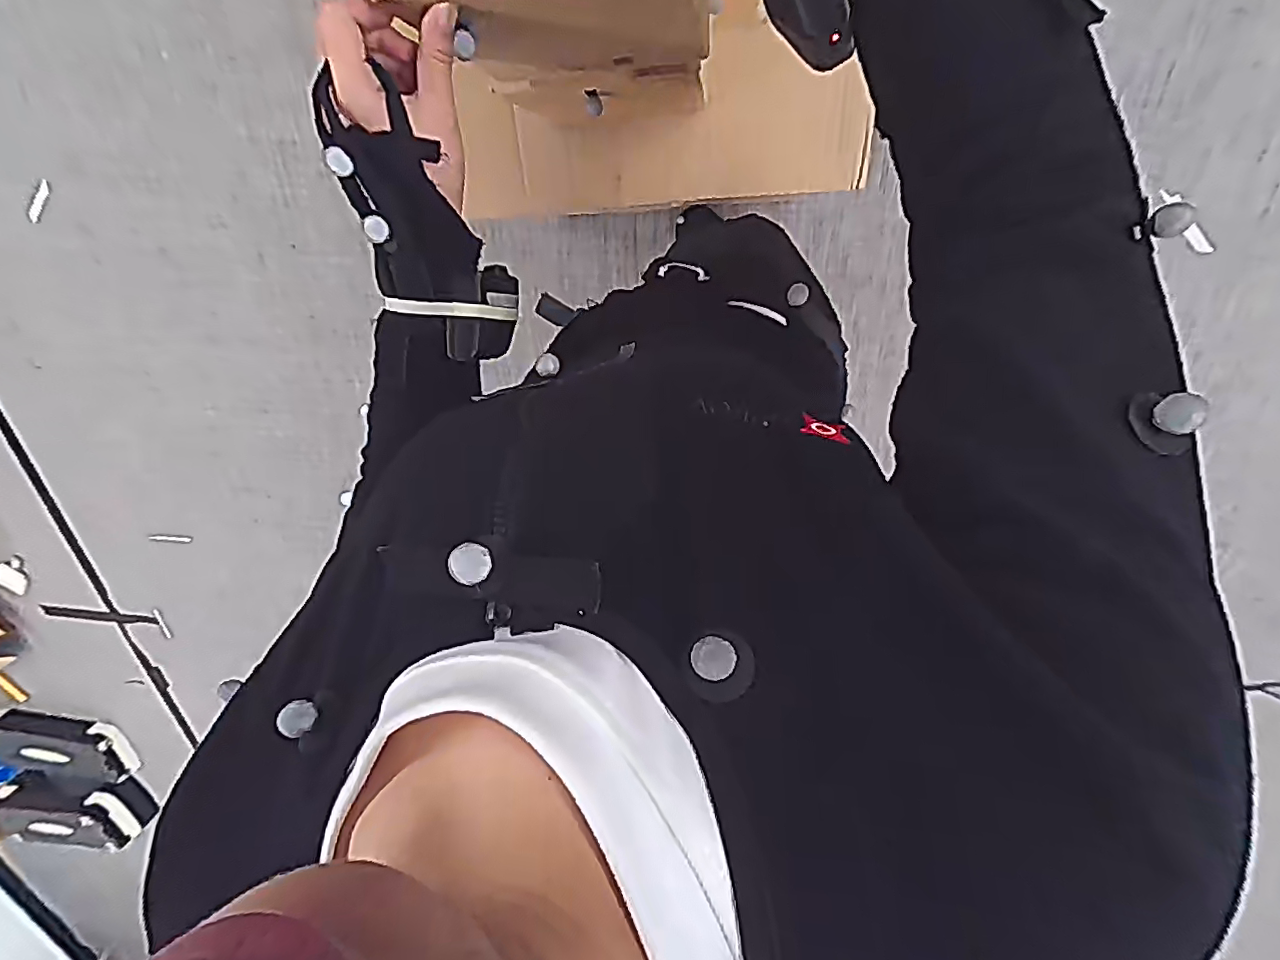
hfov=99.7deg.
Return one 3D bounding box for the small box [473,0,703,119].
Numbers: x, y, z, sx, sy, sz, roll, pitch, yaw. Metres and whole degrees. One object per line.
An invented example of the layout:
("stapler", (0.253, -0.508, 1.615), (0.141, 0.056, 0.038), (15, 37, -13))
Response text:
("small box", (-0.034, -0.424, 0.466), (0.179, 0.176, 0.168), (1, 117, 9))
